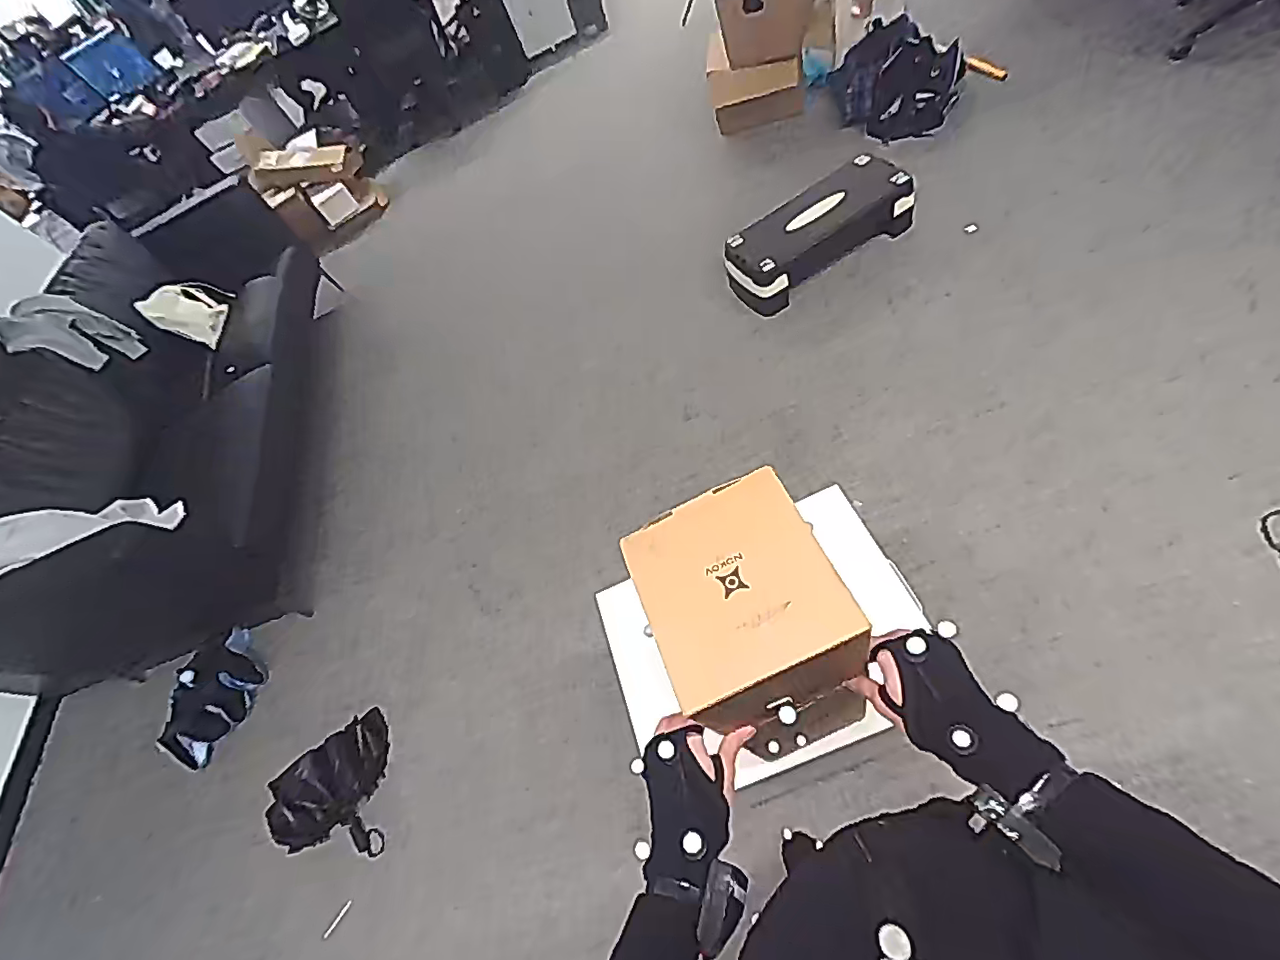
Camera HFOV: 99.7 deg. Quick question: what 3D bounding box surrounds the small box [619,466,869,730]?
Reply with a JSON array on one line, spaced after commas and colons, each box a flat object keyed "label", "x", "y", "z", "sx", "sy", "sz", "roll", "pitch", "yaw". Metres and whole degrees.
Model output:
[{"label": "small box", "x": 0.102, "y": 0.124, "z": 0.538, "sx": 0.168, "sy": 0.176, "sz": 0.179, "roll": -28, "pitch": 55, "yaw": 4}]

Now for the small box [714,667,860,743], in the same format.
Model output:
[{"label": "small box", "x": 0.153, "y": 0.207, "z": 0.669, "sx": 0.168, "sy": 0.176, "sz": 0.179, "roll": -27, "pitch": 53, "yaw": 3}]

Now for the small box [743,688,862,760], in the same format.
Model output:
[{"label": "small box", "x": 0.206, "y": 0.289, "z": 0.802, "sx": 0.168, "sy": 0.176, "sz": 0.179, "roll": -28, "pitch": 54, "yaw": 3}]
